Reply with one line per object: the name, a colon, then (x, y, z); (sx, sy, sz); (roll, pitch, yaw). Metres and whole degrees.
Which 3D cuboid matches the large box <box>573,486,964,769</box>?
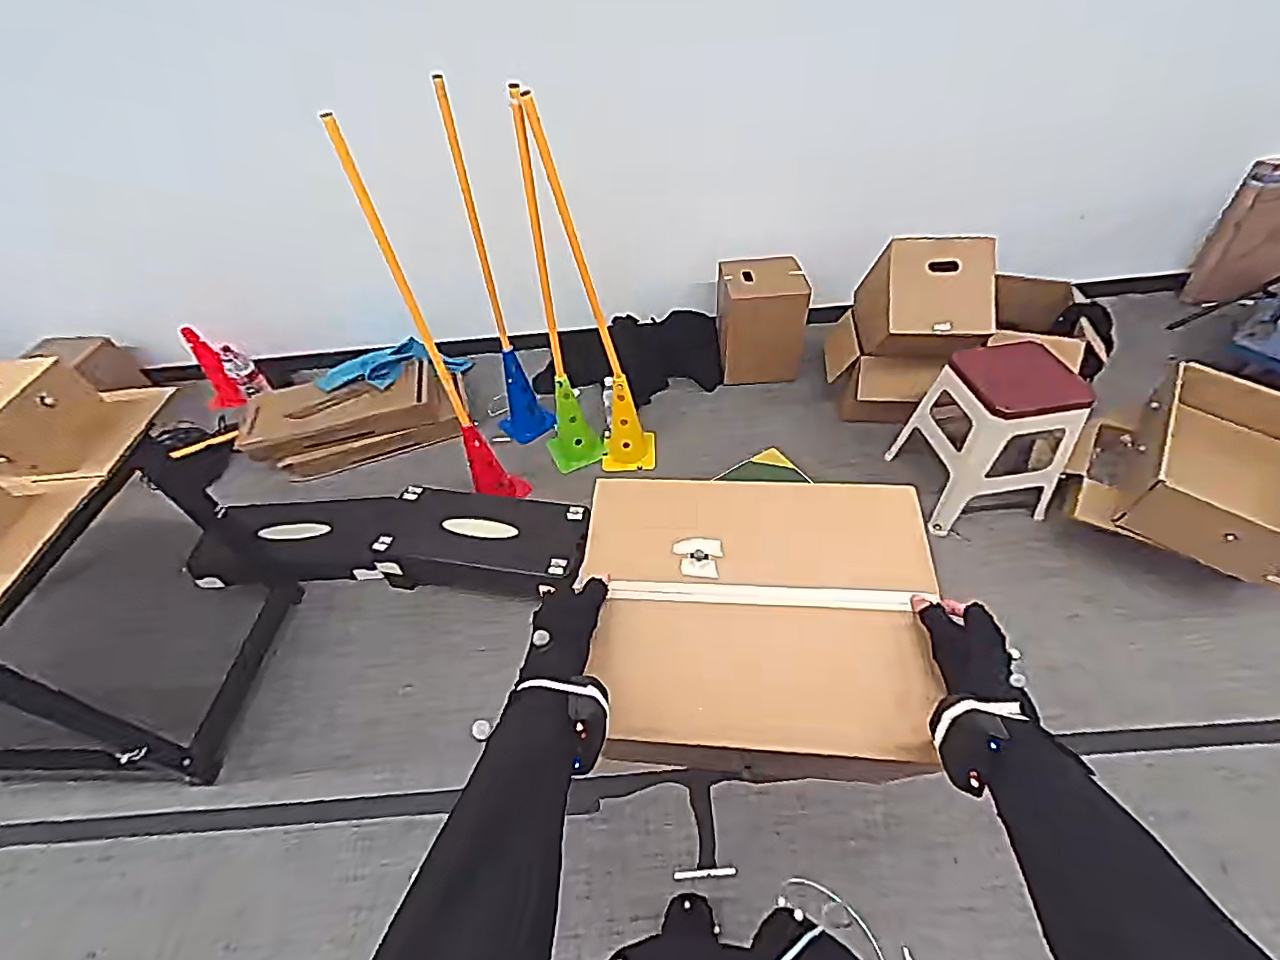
large box: (0.149, 0.216, 0.757); (0.408, 0.320, 0.320); (1, 58, 7)
